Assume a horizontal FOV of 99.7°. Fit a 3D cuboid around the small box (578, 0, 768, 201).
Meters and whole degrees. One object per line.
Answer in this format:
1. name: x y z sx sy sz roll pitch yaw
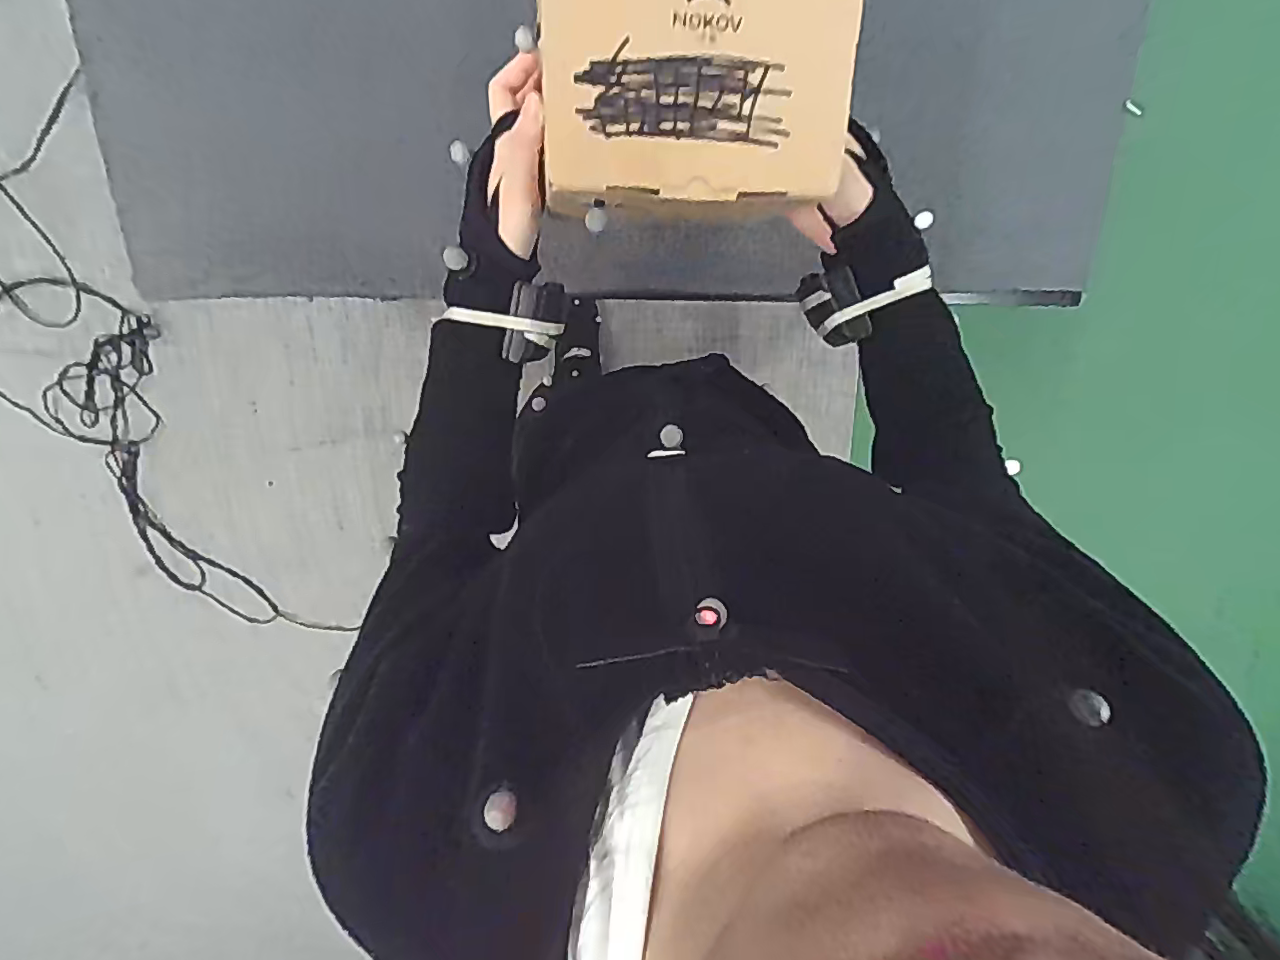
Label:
1. small box: 0.023 -0.406 0.560 0.168 0.176 0.179 -3 106 -6
